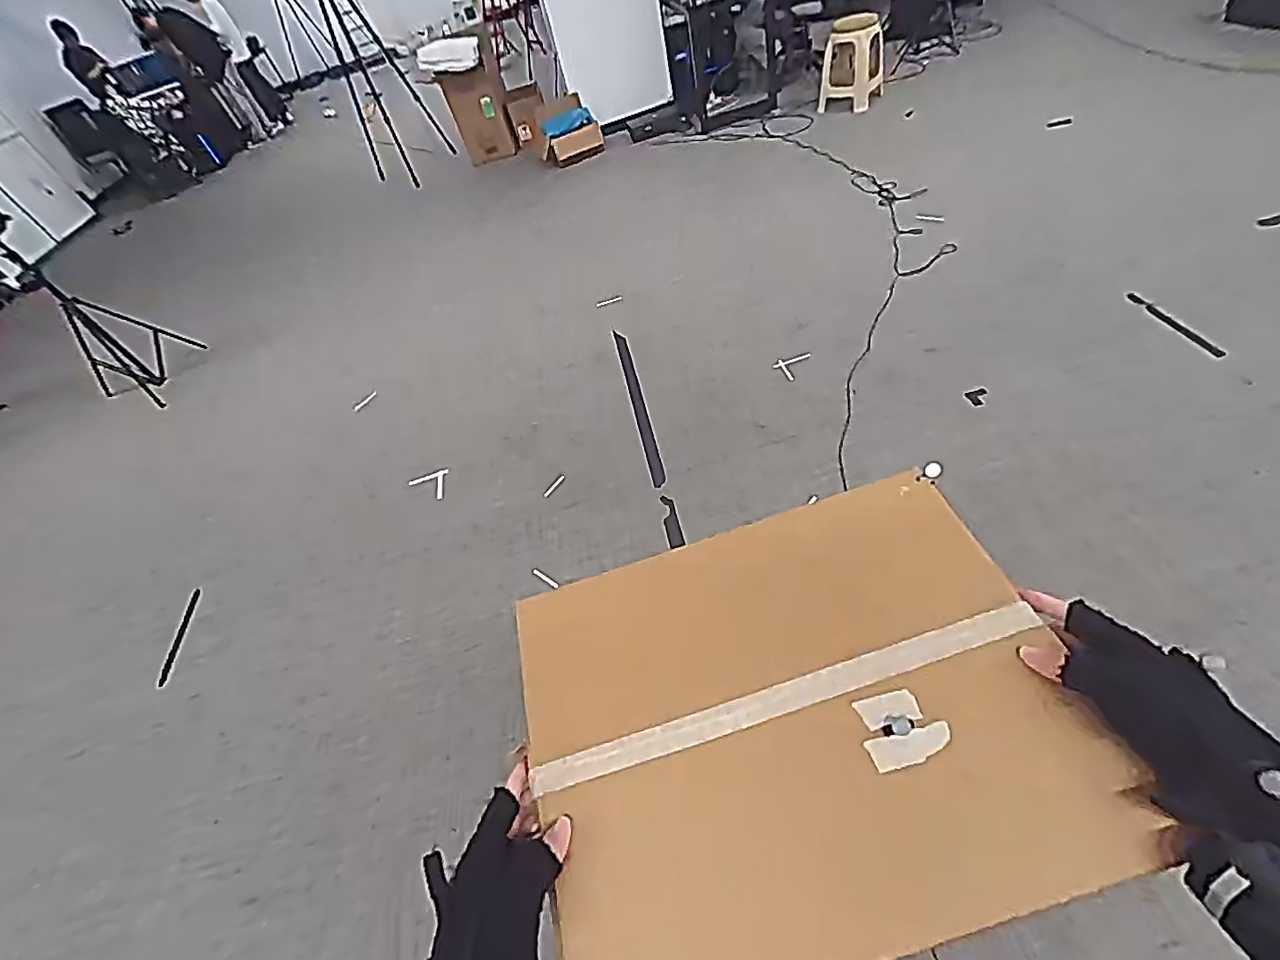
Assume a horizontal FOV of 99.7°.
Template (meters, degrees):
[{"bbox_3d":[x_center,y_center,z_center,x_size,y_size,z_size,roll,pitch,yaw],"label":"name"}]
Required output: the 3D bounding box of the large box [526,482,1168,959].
[{"bbox_3d":[0.141,0.266,0.548,0.408,0.320,0.320,-19,52,0],"label":"large box"}]
